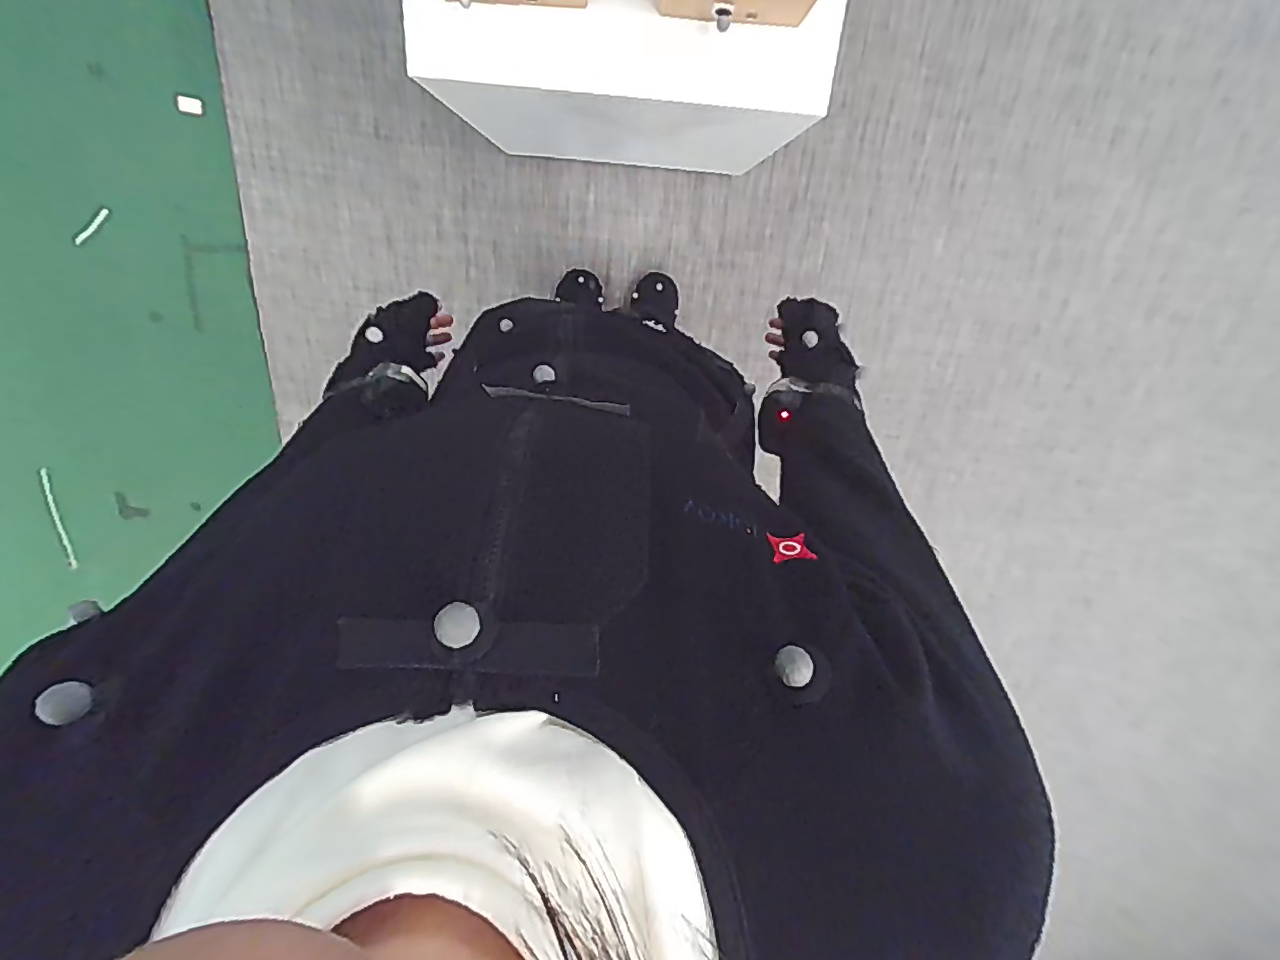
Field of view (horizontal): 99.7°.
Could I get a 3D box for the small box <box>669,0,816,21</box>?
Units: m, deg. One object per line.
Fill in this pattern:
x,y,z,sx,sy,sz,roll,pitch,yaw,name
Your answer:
0.109,-0.572,0.504,0.168,0.176,0.179,2,115,0,small box
